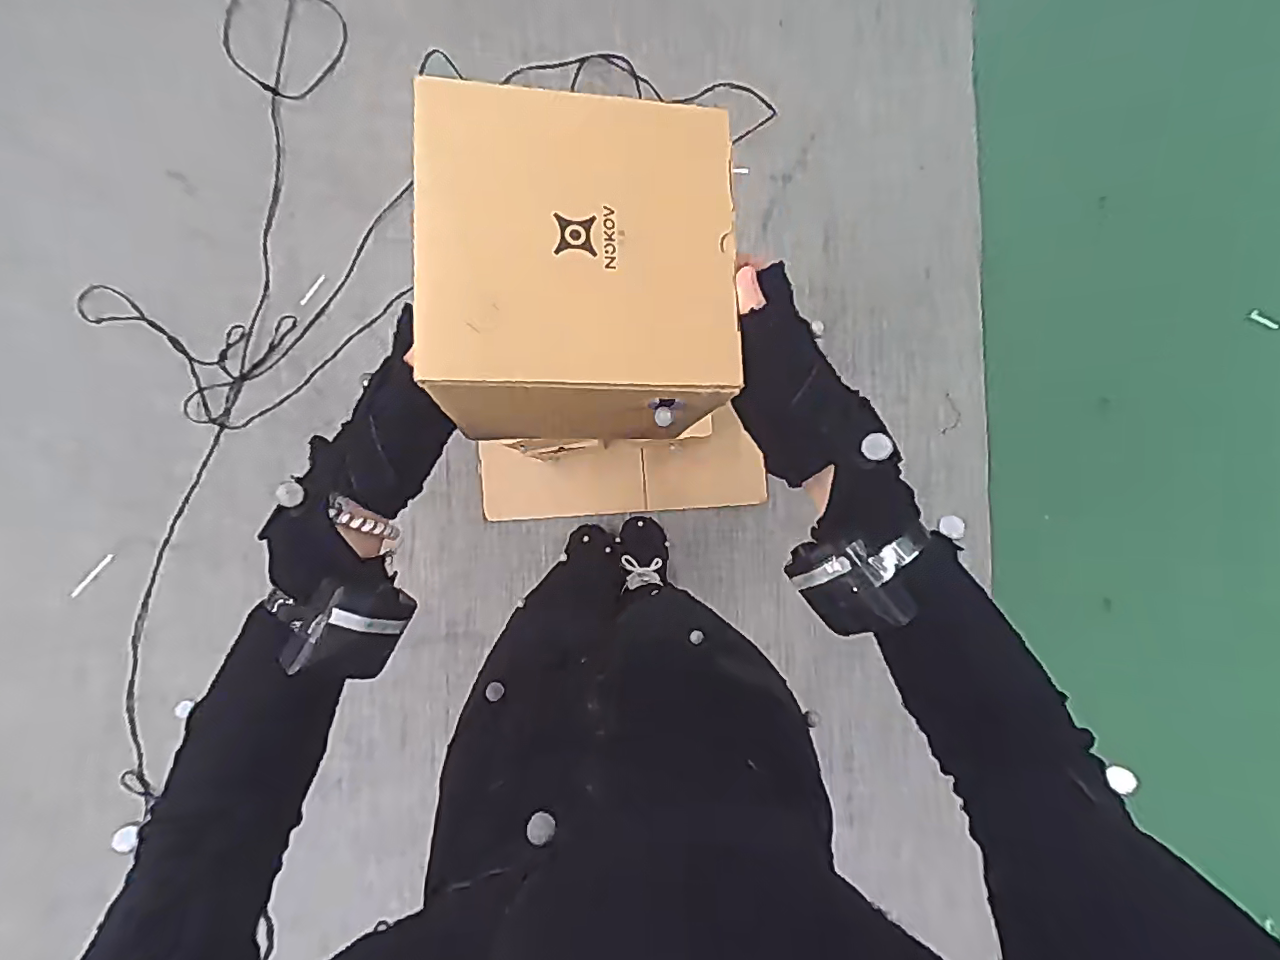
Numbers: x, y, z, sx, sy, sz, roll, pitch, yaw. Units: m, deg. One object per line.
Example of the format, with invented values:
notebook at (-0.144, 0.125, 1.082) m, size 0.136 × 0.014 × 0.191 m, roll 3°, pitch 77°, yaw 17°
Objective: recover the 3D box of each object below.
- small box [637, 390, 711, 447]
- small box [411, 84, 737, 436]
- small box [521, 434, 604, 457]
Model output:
small box at (0.070, -0.175, 1.244) m, size 0.168 × 0.176 × 0.179 m, roll -4°, pitch 89°, yaw 2°
small box at (-0.046, -0.124, 0.374) m, size 0.179 × 0.176 × 0.168 m, roll -1°, pitch 85°, yaw -11°
small box at (-0.179, -0.148, 1.245) m, size 0.168 × 0.176 × 0.179 m, roll -8°, pitch 88°, yaw 1°
